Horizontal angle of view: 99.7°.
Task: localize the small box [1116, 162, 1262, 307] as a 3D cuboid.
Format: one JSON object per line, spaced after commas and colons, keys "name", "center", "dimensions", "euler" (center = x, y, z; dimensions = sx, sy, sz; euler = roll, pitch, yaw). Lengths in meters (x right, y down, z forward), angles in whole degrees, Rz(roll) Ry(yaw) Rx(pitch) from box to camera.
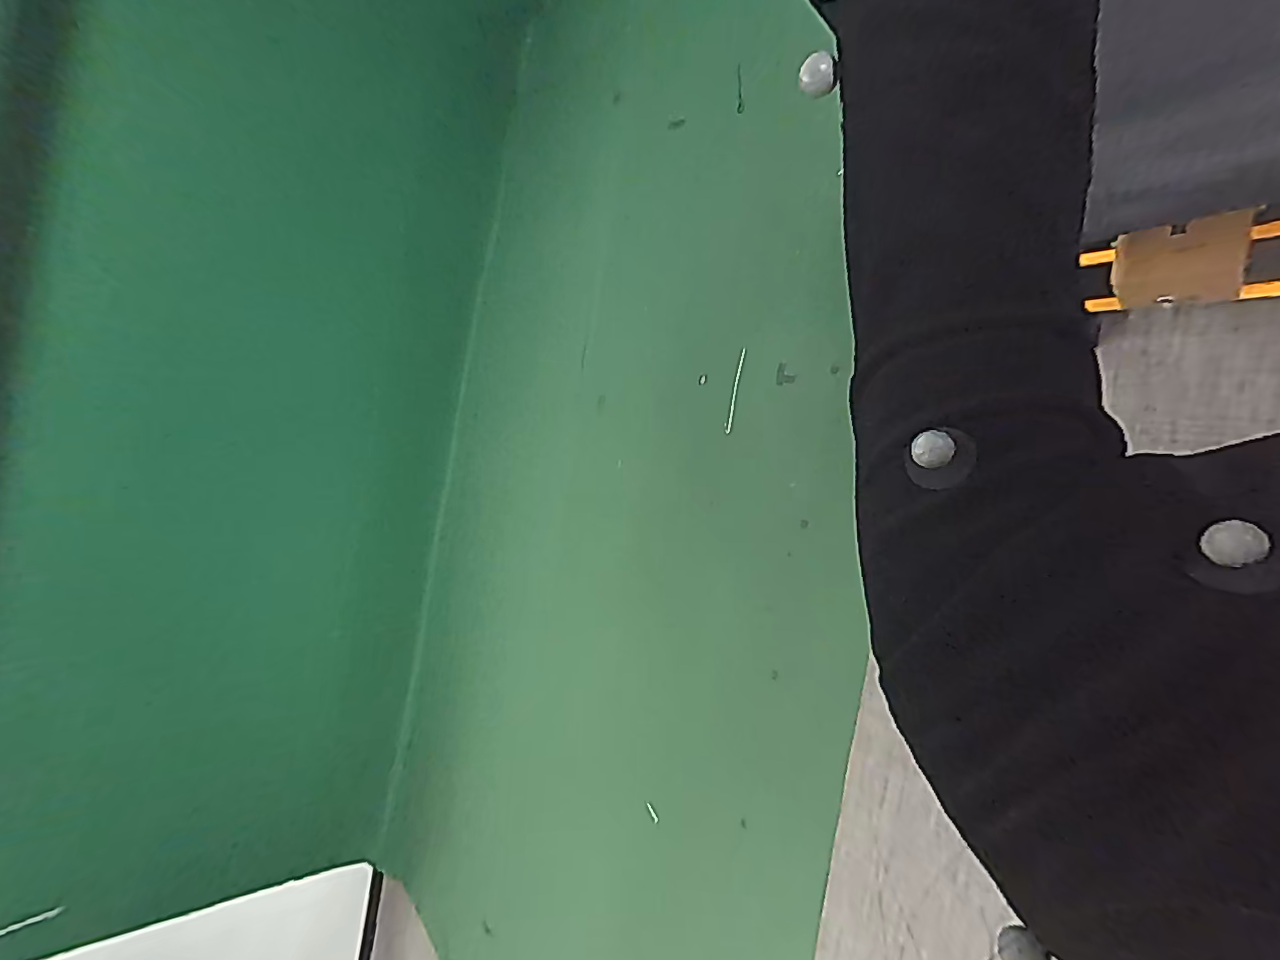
{"name": "small box", "center": [1.015, -0.442, 1.003], "dimensions": [0.168, 0.176, 0.179], "euler": [9, 91, 49]}
